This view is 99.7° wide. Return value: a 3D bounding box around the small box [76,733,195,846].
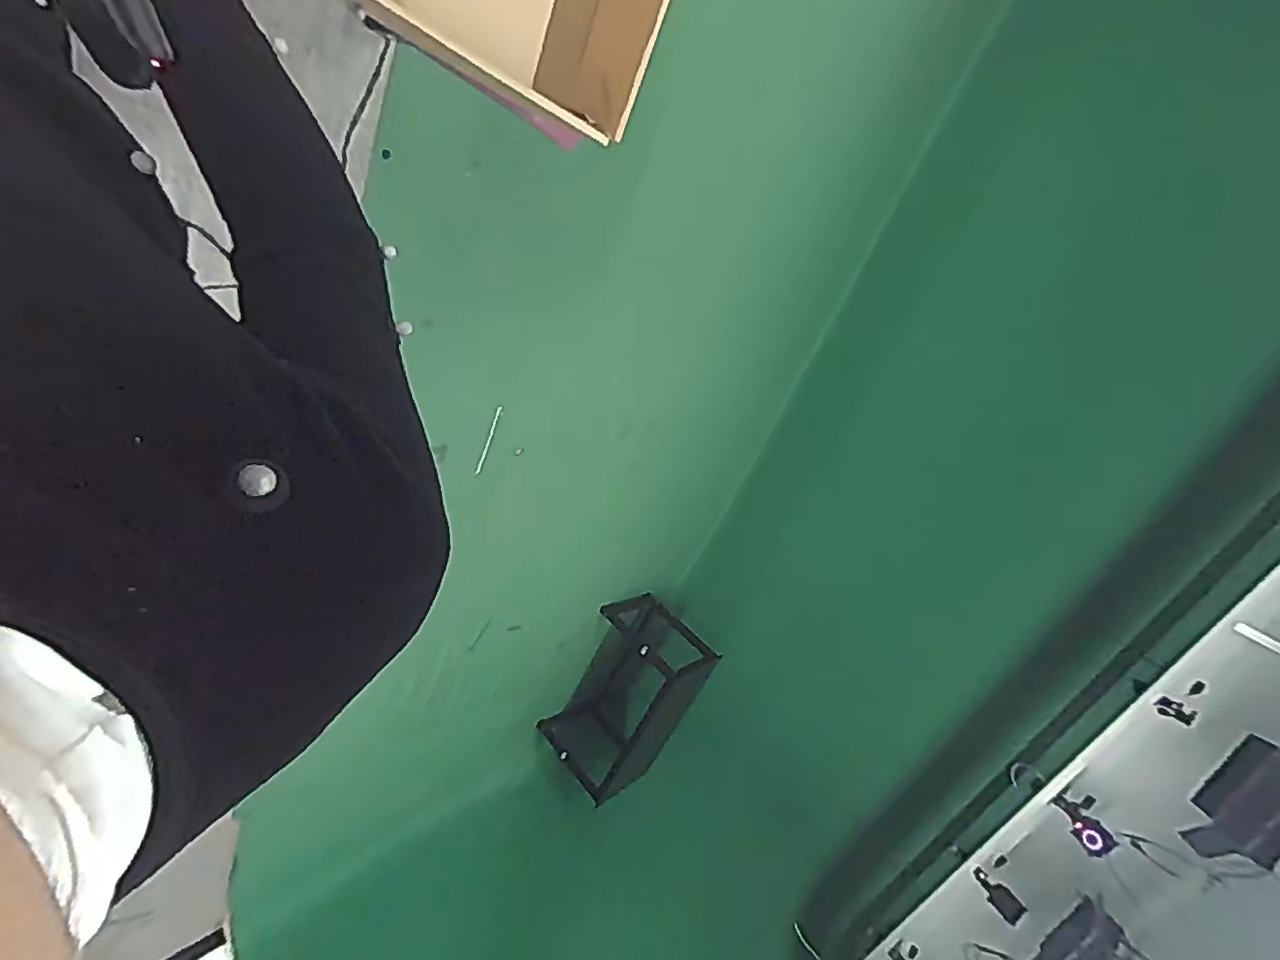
[{"bbox_3d":[-1.355,0.826,1.451,0.179,0.176,0.168,-35,145,-27],"label":"small box"}]
